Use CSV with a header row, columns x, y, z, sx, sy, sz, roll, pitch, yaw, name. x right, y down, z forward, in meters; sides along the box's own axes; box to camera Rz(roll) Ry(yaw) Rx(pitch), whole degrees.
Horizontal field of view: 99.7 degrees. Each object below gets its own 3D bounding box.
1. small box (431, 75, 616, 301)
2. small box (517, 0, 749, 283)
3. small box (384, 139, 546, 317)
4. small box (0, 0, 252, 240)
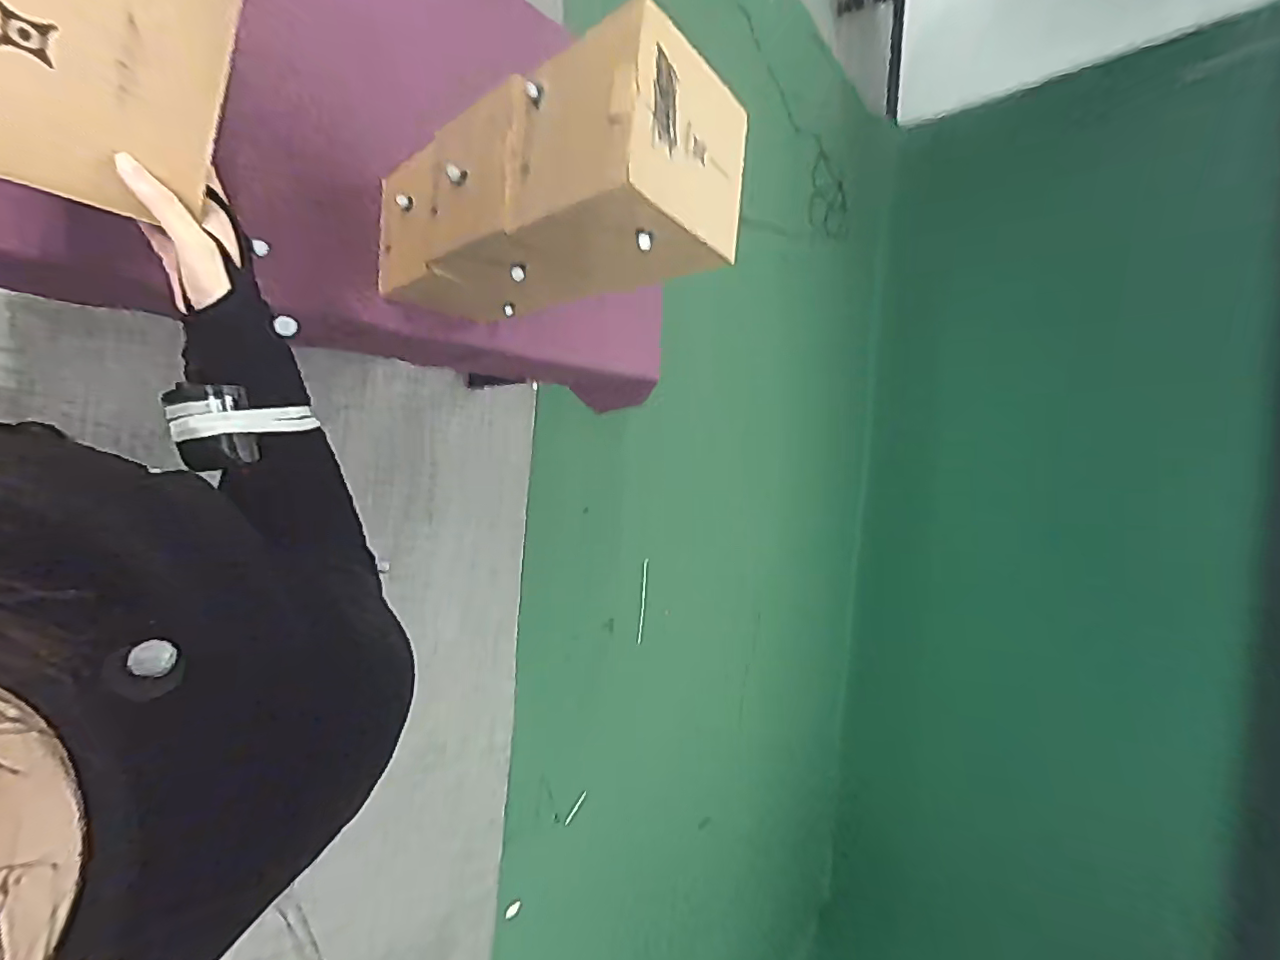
x,y,z,sx,sy,sz,roll,pitch,yaw,name
-0.135,-0.334,0.667,0.179,0.176,0.168,6,89,-48,small box
-0.008,-0.322,0.563,0.179,0.176,0.168,7,88,-49,small box
-0.252,-0.343,0.782,0.179,0.176,0.168,1,93,-48,small box
-0.365,-0.285,0.323,0.179,0.176,0.168,4,132,-48,small box
